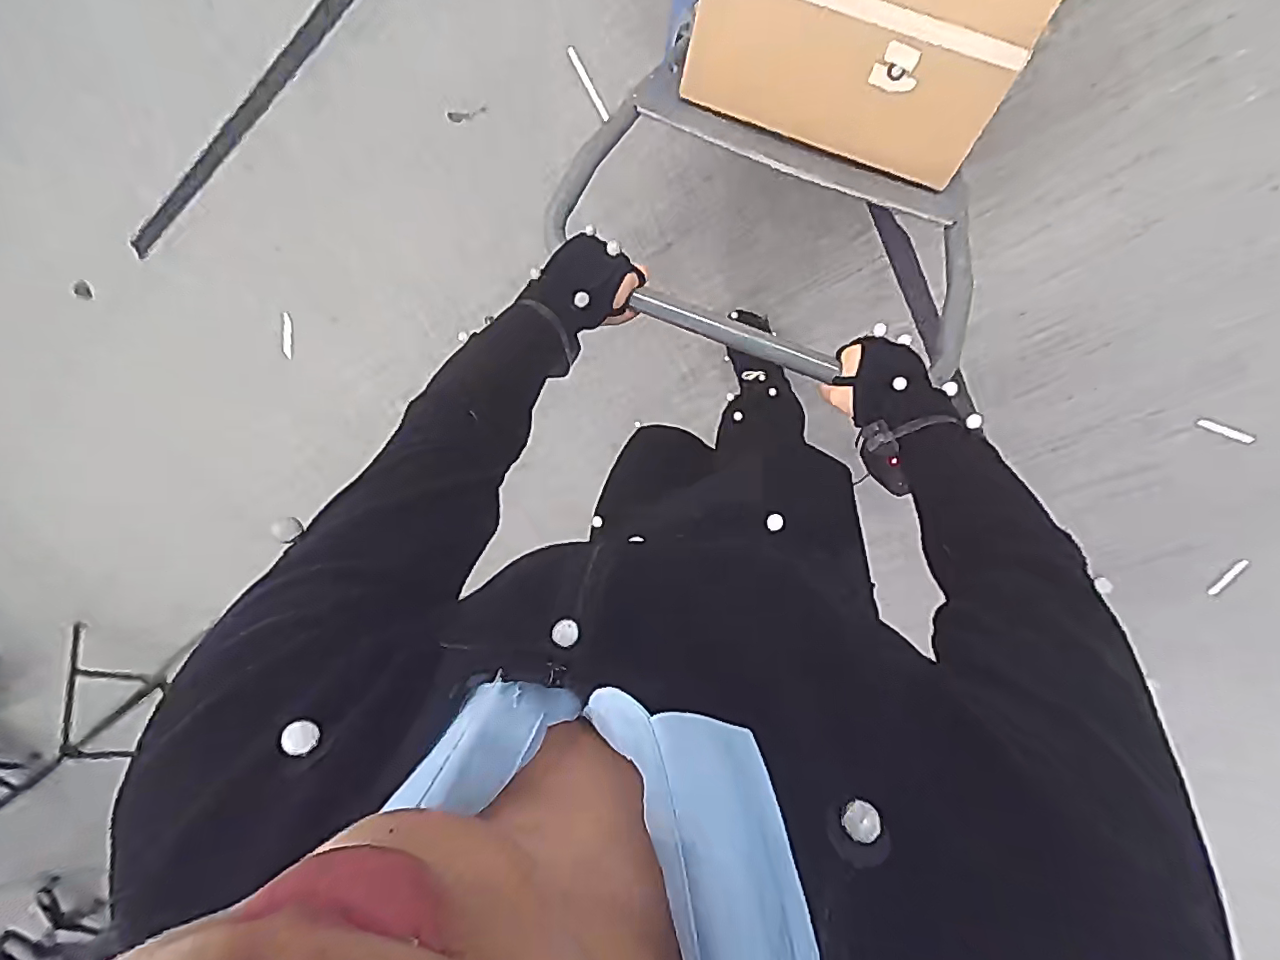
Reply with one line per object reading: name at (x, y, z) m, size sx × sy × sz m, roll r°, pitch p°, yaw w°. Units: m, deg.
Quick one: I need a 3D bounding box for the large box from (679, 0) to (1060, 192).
large box at (0.308, -0.669, 0.744) m, size 0.408 × 0.320 × 0.320 m, roll 21°, pitch 142°, yaw 1°
